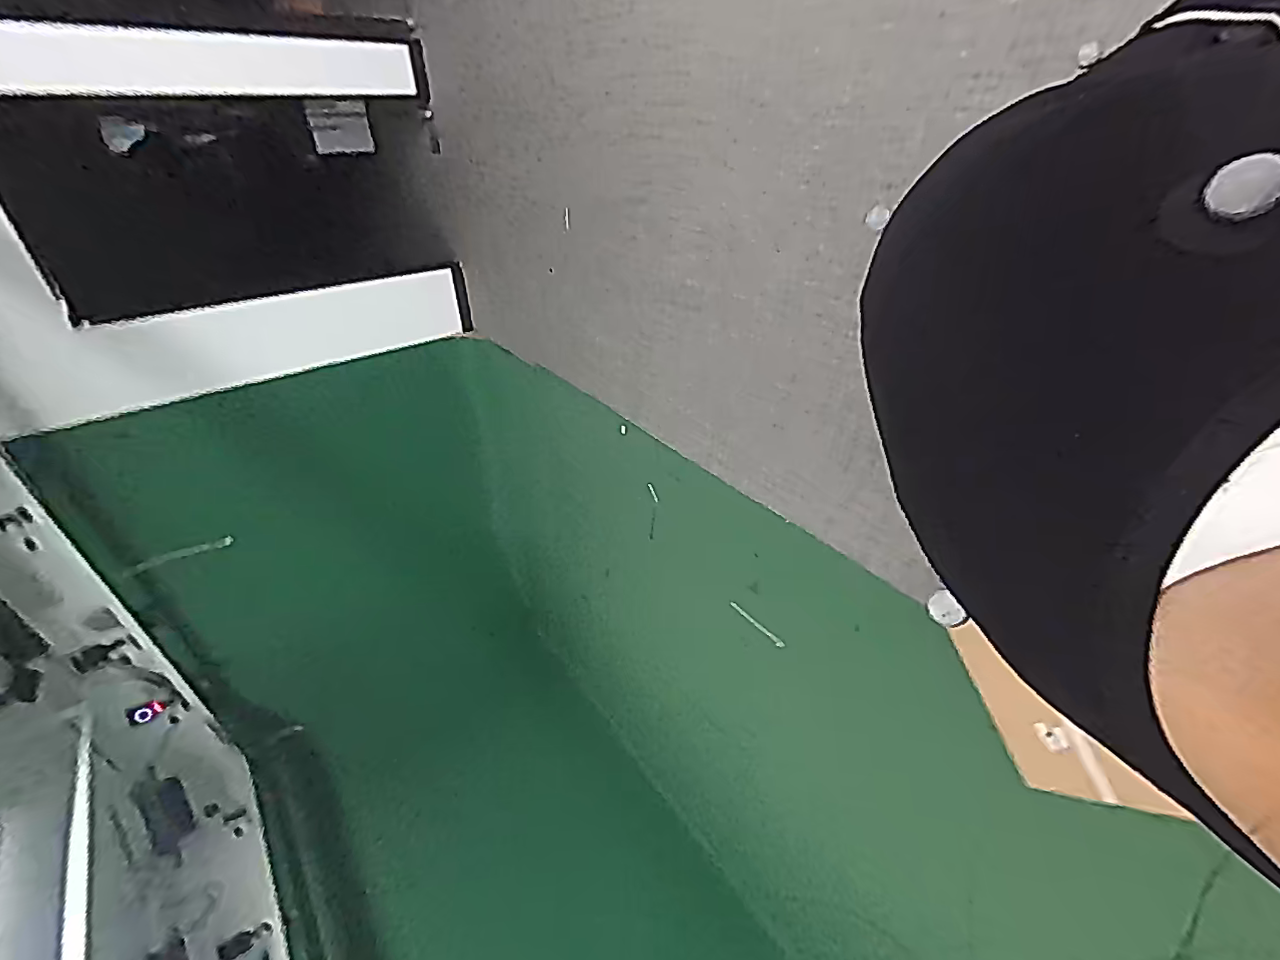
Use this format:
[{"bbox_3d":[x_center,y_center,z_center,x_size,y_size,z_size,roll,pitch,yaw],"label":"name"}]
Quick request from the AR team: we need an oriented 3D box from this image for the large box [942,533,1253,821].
[{"bbox_3d":[0.918,0.372,1.100,0.408,0.320,0.320,63,149,2],"label":"large box"}]
